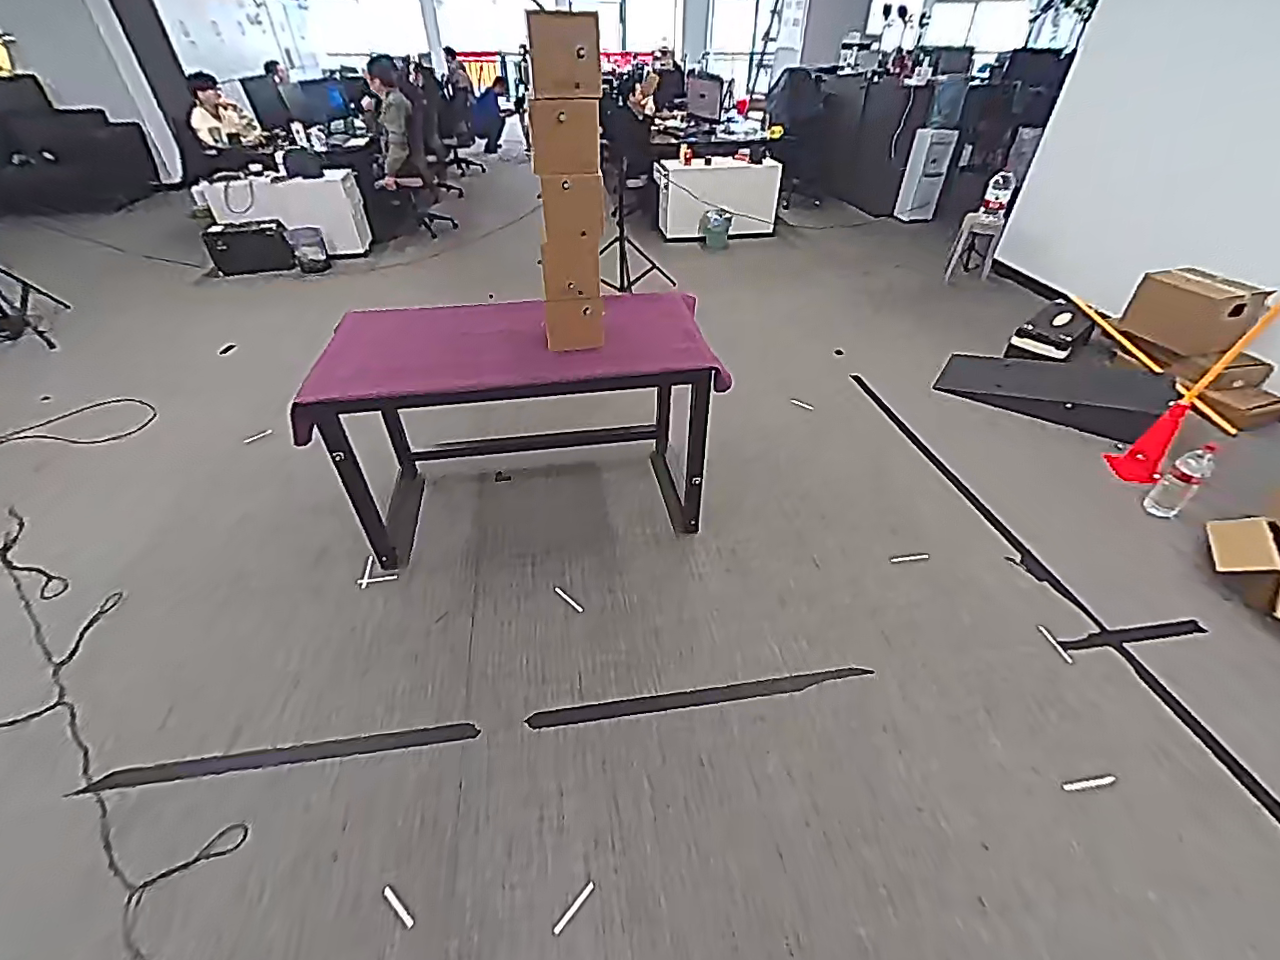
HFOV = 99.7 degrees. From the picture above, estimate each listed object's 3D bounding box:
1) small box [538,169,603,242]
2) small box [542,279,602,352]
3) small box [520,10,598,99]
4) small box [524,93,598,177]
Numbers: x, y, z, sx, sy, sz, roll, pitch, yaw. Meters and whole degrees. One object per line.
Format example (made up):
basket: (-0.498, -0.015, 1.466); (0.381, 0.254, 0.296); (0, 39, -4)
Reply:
small box: (-0.197, -0.779, 1.522); (0.168, 0.176, 0.179); (-7, 40, -8)
small box: (-0.215, -0.526, 1.729); (0.179, 0.176, 0.168); (-8, 40, -8)
small box: (-0.198, -1.039, 1.326); (0.168, 0.176, 0.179); (-8, 40, -11)
small box: (-0.206, -0.911, 1.426); (0.179, 0.176, 0.168); (-8, 41, -9)
